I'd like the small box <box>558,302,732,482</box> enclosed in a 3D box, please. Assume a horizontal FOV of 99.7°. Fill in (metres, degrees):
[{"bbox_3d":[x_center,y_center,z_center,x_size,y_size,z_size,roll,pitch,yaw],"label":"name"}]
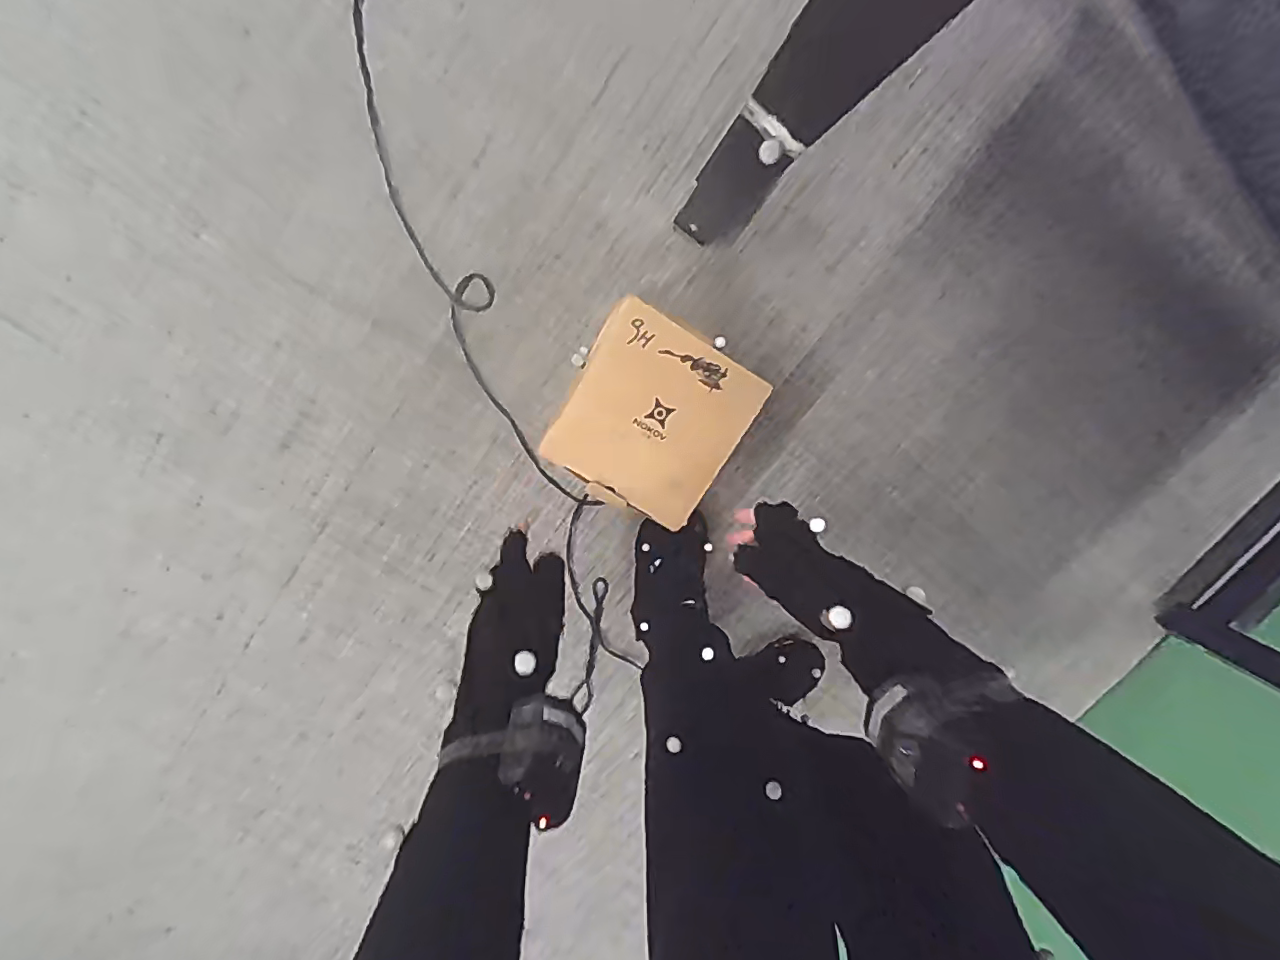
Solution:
[{"bbox_3d":[0.000,-0.129,0.756,0.168,0.176,0.179,27,104,-10],"label":"small box"}]
